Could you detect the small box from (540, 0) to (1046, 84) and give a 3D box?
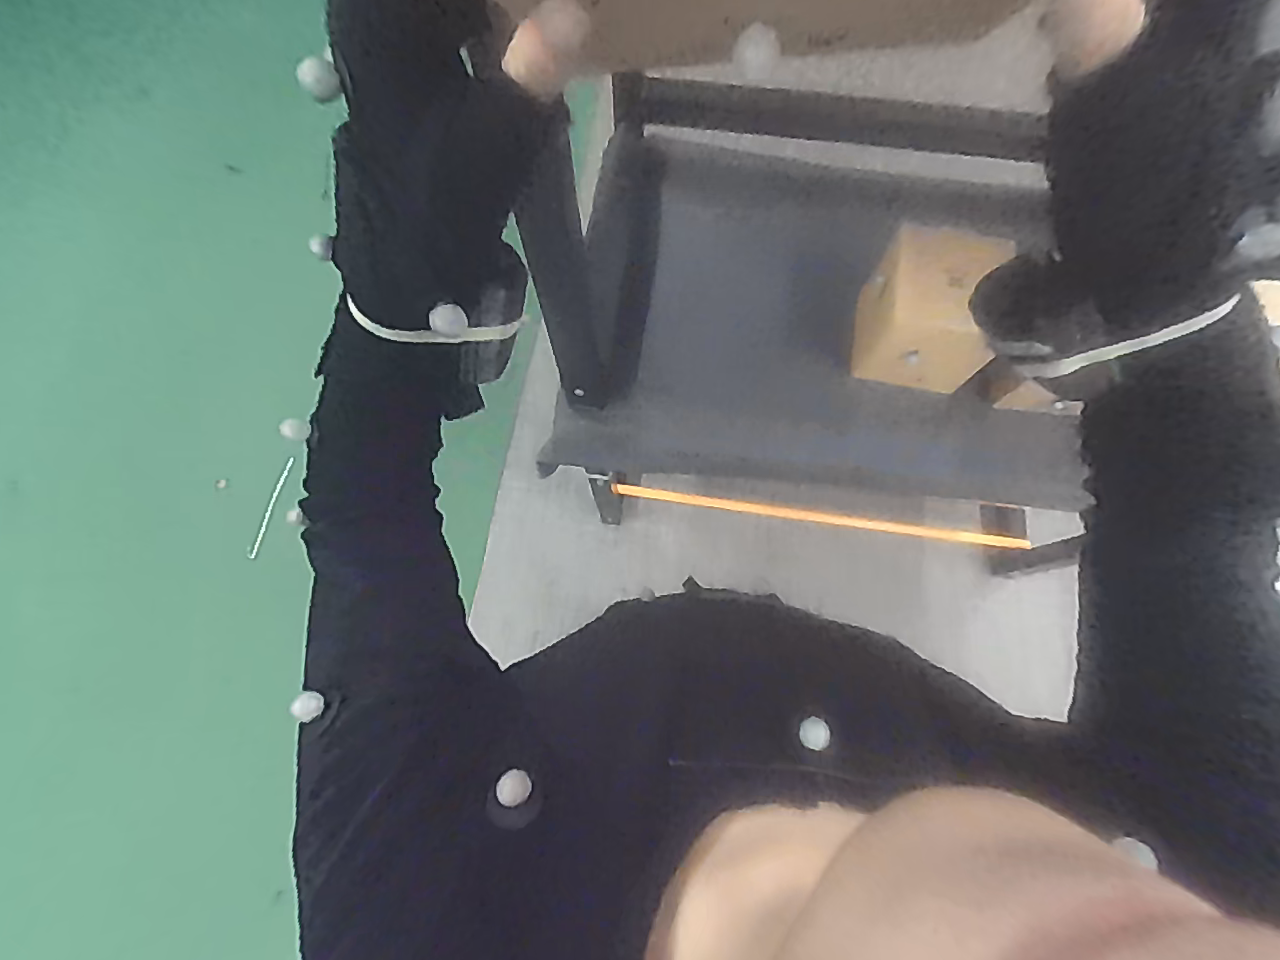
[{"bbox_3d":[0.041,-0.213,0.113,0.168,0.176,0.179,0,115,7],"label":"small box"}]

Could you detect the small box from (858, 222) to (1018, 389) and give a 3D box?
[{"bbox_3d":[0.456,-0.263,0.848,0.168,0.176,0.179,11,72,4],"label":"small box"}]
